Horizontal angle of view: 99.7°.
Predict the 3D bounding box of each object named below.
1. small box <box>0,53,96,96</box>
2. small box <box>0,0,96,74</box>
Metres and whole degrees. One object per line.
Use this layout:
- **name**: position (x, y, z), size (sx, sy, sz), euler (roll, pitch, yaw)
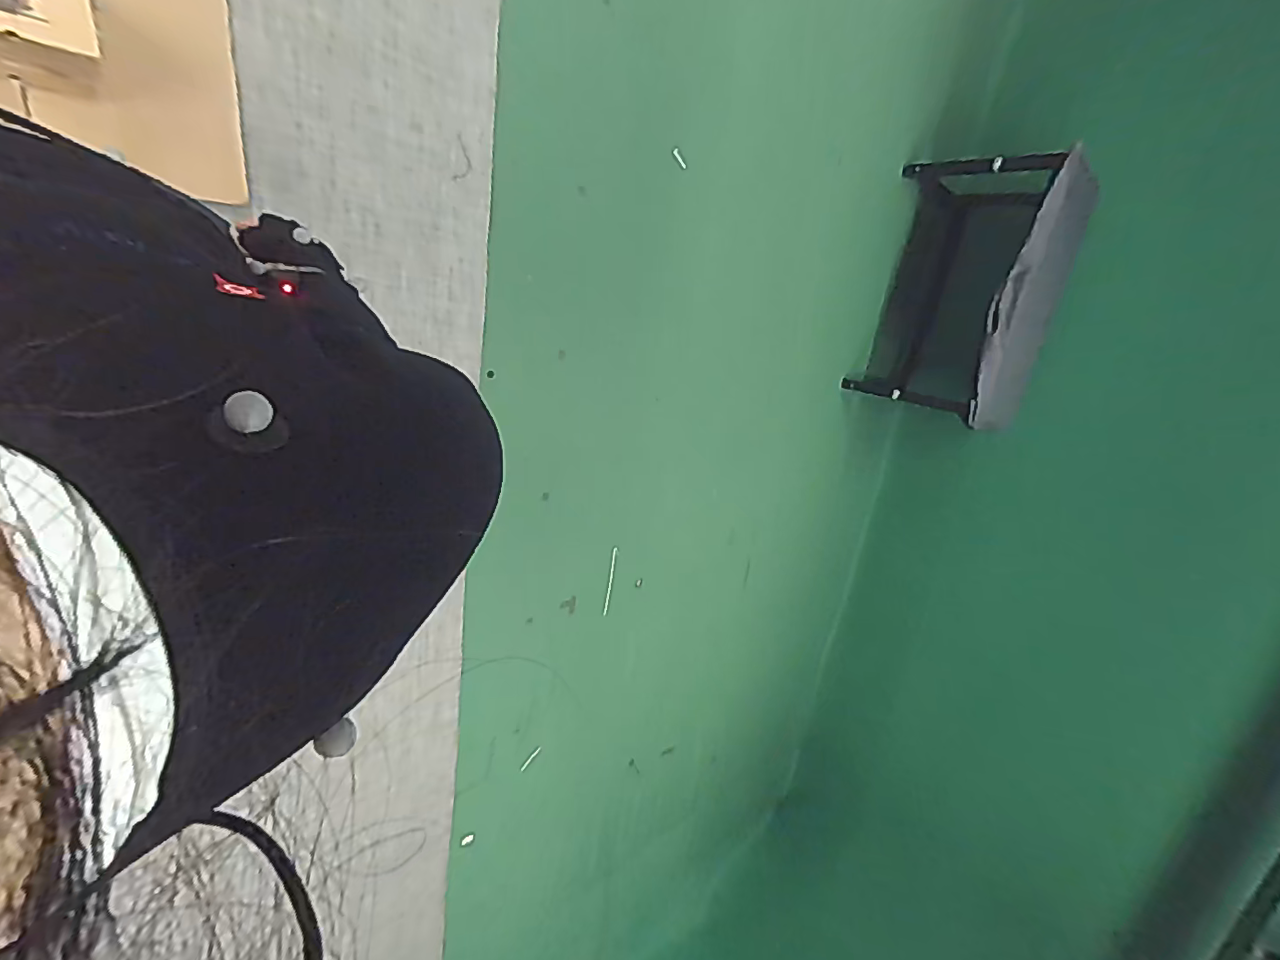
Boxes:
- **small box**: position (-0.953, -0.713, 0.812), size (0.168, 0.176, 0.179), euler (-12, 117, -42)
- **small box**: position (-0.840, -0.664, 0.703), size (0.168, 0.176, 0.179), euler (-13, 117, -42)
